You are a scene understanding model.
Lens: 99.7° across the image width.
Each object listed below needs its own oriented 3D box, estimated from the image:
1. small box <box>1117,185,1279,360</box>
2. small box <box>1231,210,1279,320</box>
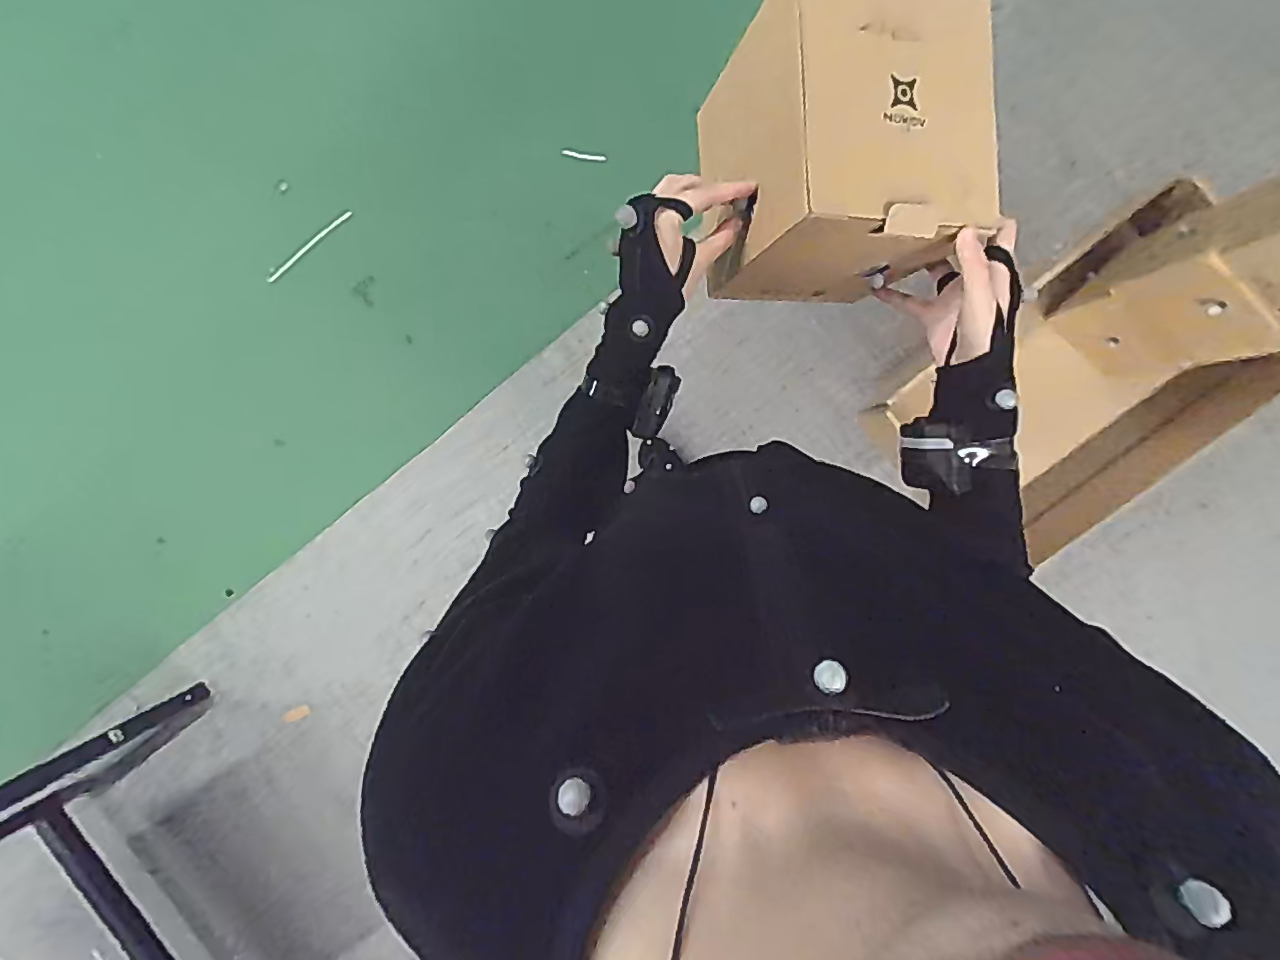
[{"bbox_3d":[0.865,-0.290,0.775,0.168,0.176,0.179,-43,88,6],"label":"small box"},{"bbox_3d":[0.863,-0.283,0.610,0.179,0.176,0.168,-41,88,6],"label":"small box"}]
